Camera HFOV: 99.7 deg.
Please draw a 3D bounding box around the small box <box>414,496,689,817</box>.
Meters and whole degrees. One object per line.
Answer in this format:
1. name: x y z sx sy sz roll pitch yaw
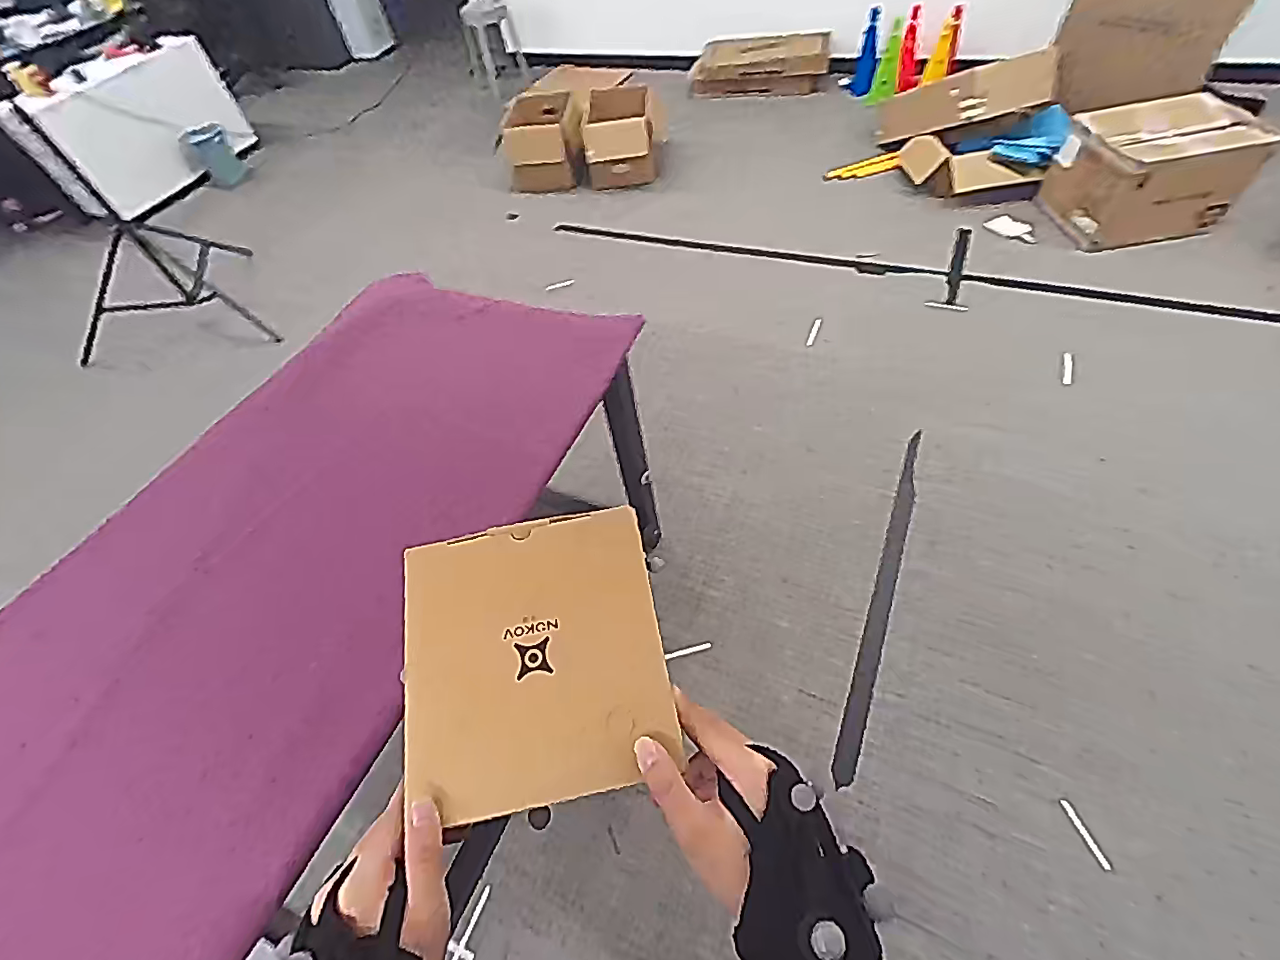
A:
1. small box: -0.060 0.138 0.420 0.168 0.176 0.179 -12 62 -3
